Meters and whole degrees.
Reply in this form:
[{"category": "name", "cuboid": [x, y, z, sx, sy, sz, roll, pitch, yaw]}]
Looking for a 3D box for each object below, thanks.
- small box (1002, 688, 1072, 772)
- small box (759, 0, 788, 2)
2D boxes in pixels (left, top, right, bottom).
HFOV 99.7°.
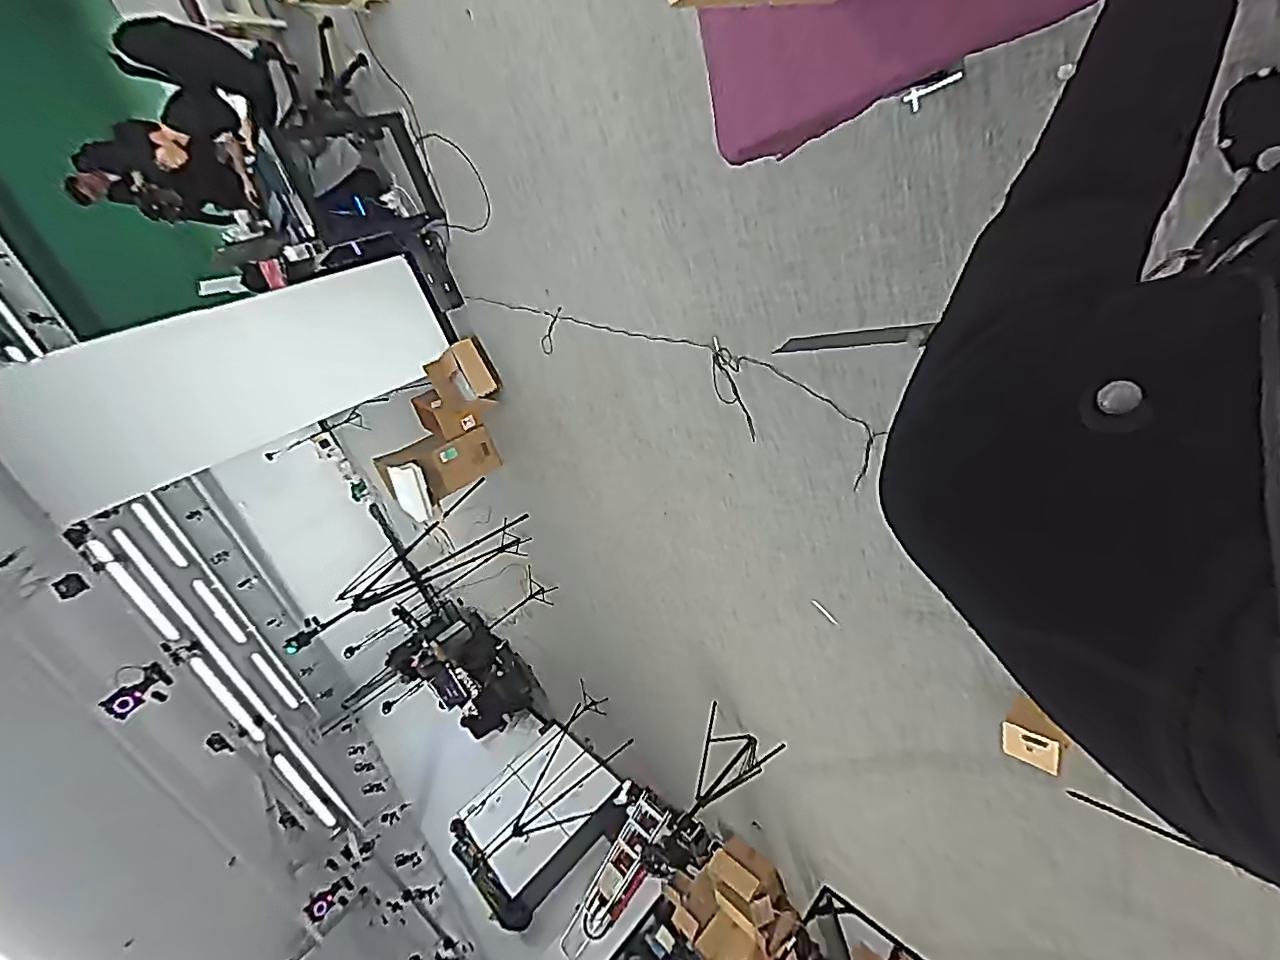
[{"category": "small box", "cuboid": [1.411, 0.880, 1.922, 0.168, 0.176, 0.179, 14, 131, 49]}, {"category": "small box", "cuboid": [0.234, -0.681, 0.604, 0.179, 0.176, 0.168, 12, 128, 49]}]
